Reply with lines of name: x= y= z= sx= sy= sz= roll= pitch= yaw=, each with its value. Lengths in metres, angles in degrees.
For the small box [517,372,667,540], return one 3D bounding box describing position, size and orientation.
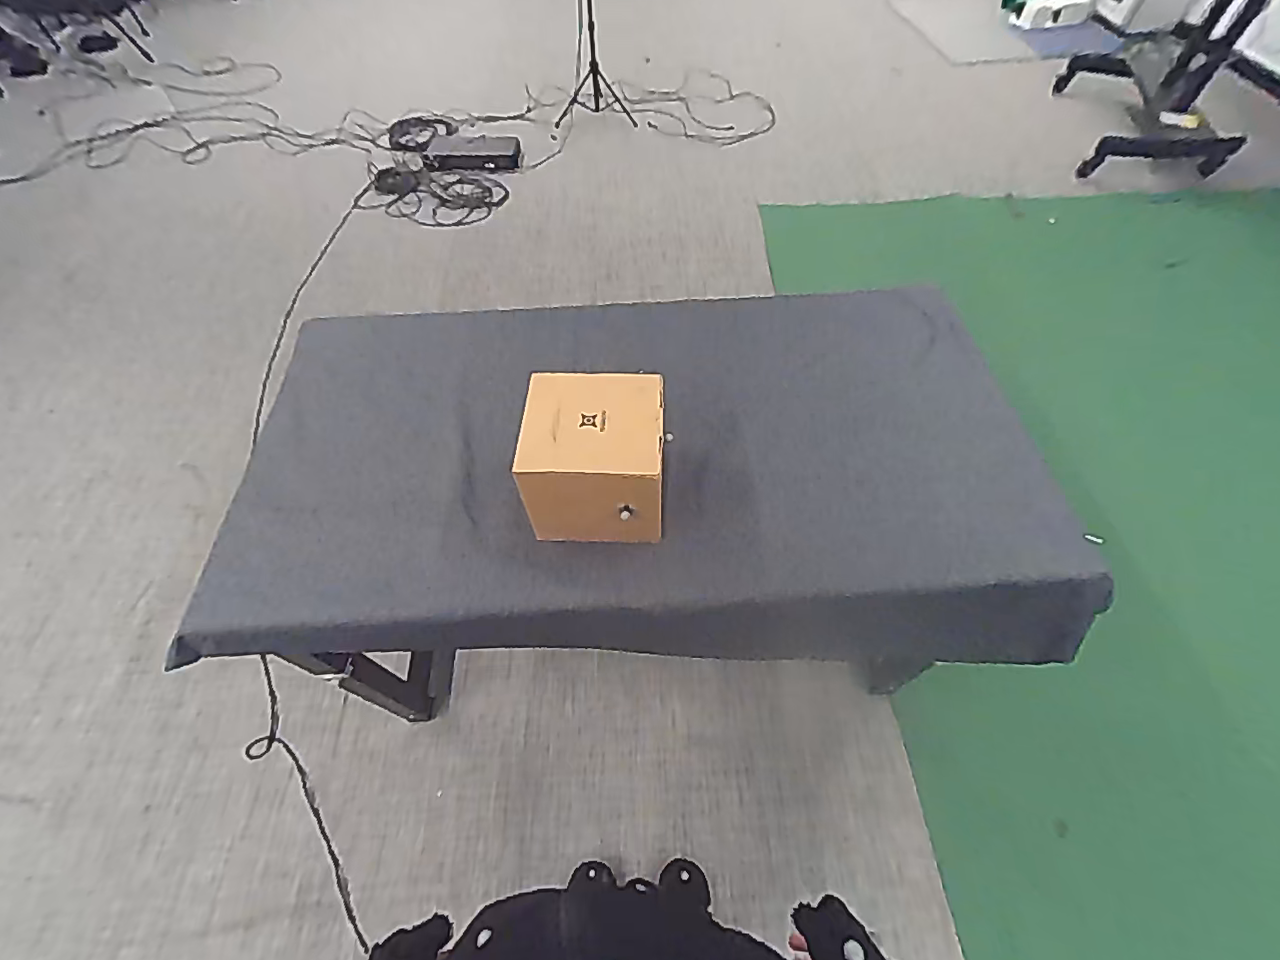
small box: x=-0.053 y=-0.029 z=0.740 sx=0.179 sy=0.176 sz=0.168 roll=0 pitch=55 yaw=3
